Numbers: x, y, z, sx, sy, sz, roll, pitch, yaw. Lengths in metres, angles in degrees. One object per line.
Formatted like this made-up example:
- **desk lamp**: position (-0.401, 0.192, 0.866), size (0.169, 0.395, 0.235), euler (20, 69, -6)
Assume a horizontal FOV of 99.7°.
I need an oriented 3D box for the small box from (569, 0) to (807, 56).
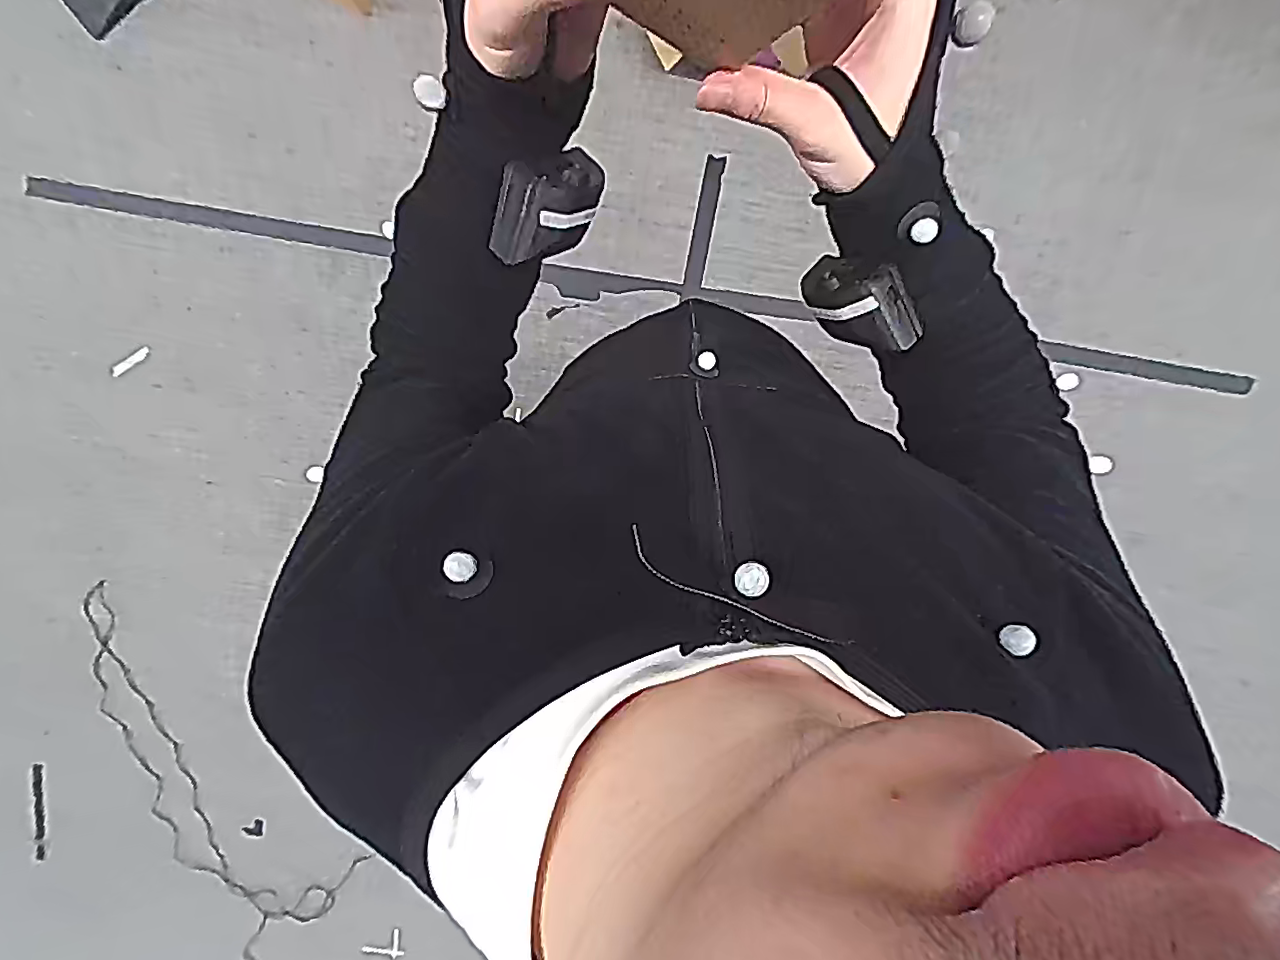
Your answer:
- **small box**: position (0.010, -0.246, 0.127), size (0.179, 0.176, 0.168), euler (18, 105, -20)
